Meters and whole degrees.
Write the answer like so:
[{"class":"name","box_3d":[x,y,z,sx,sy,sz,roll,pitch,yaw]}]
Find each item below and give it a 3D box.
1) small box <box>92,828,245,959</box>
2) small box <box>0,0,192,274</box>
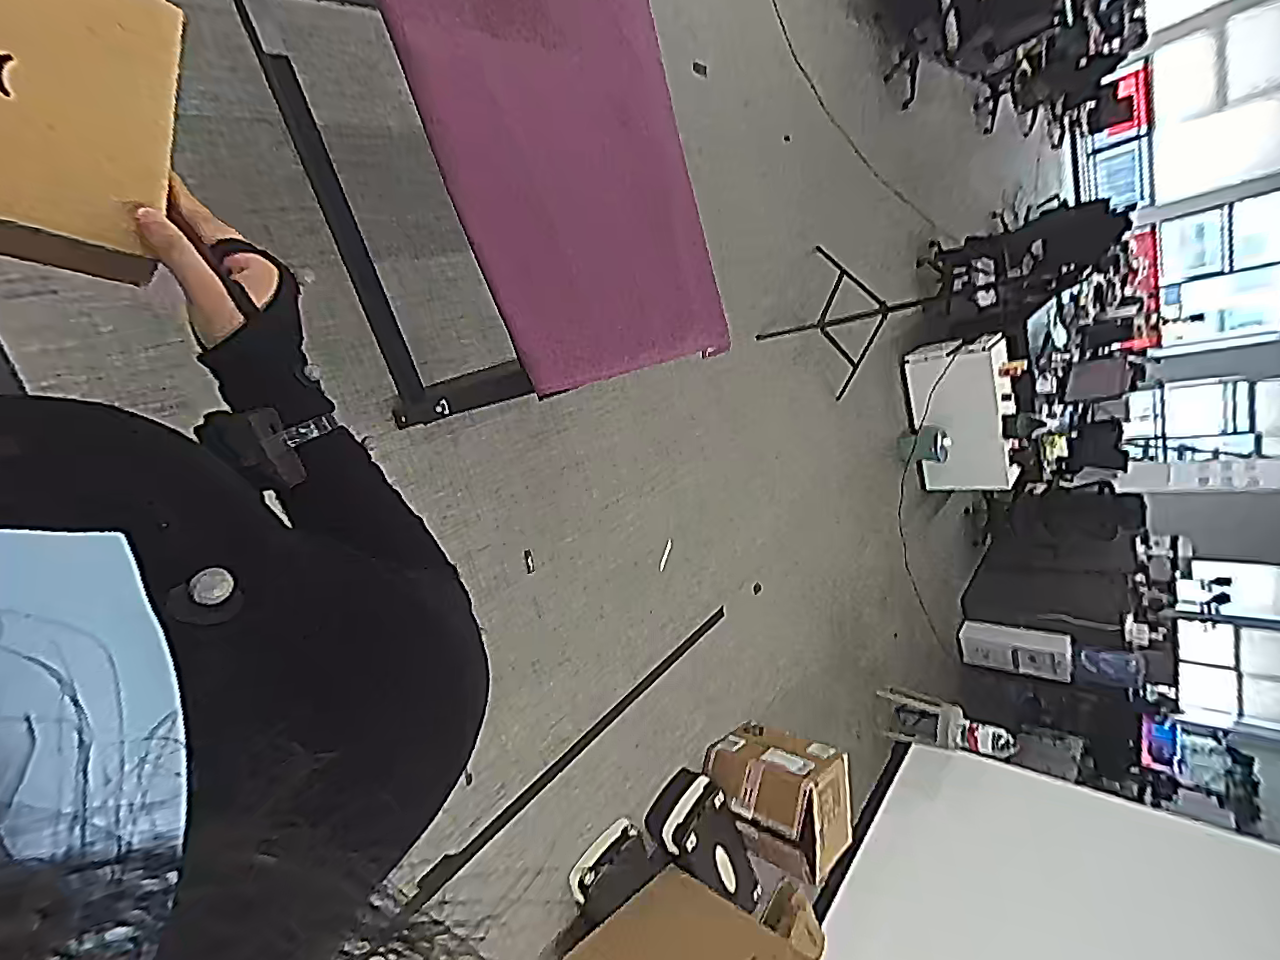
[{"class":"small box","box_3d":[-0.921,0.826,1.058,0.168,0.176,0.179,-33,112,-39]},{"class":"small box","box_3d":[-0.427,-0.247,0.360,0.179,0.176,0.168,5,95,-44]}]
